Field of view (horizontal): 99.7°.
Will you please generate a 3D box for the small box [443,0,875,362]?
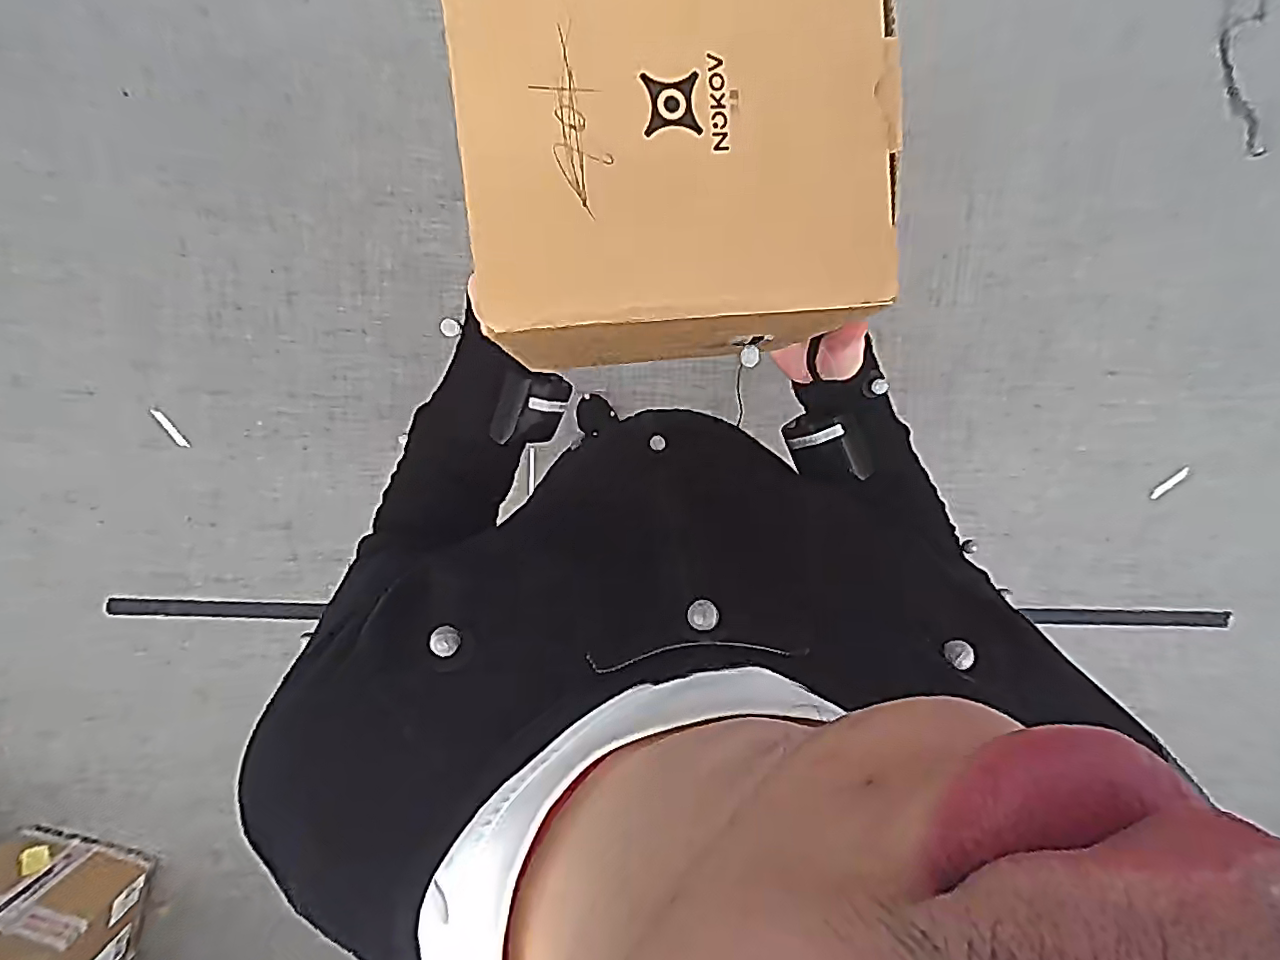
[{"bbox_3d":[0.004,-0.163,0.302,0.179,0.176,0.168,-6,96,-4],"label":"small box"}]
